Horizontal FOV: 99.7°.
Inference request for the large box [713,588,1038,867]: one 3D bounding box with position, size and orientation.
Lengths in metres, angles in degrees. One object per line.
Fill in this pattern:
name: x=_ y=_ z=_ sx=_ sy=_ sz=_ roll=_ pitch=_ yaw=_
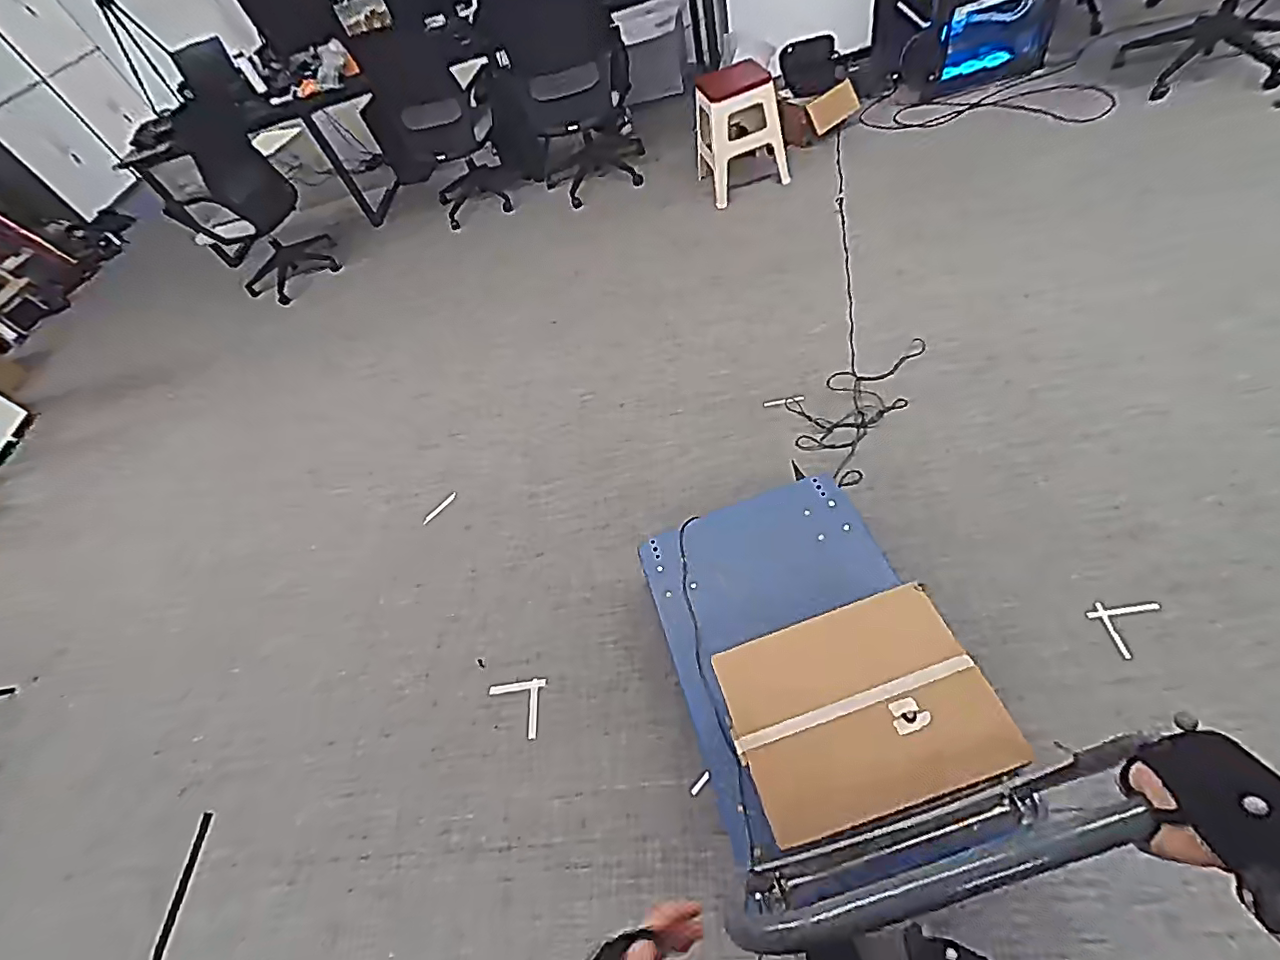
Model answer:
large box: x=0.389 y=0.462 z=0.991 sx=0.408 sy=0.320 sz=0.320 roll=-21 pitch=52 yaw=1
